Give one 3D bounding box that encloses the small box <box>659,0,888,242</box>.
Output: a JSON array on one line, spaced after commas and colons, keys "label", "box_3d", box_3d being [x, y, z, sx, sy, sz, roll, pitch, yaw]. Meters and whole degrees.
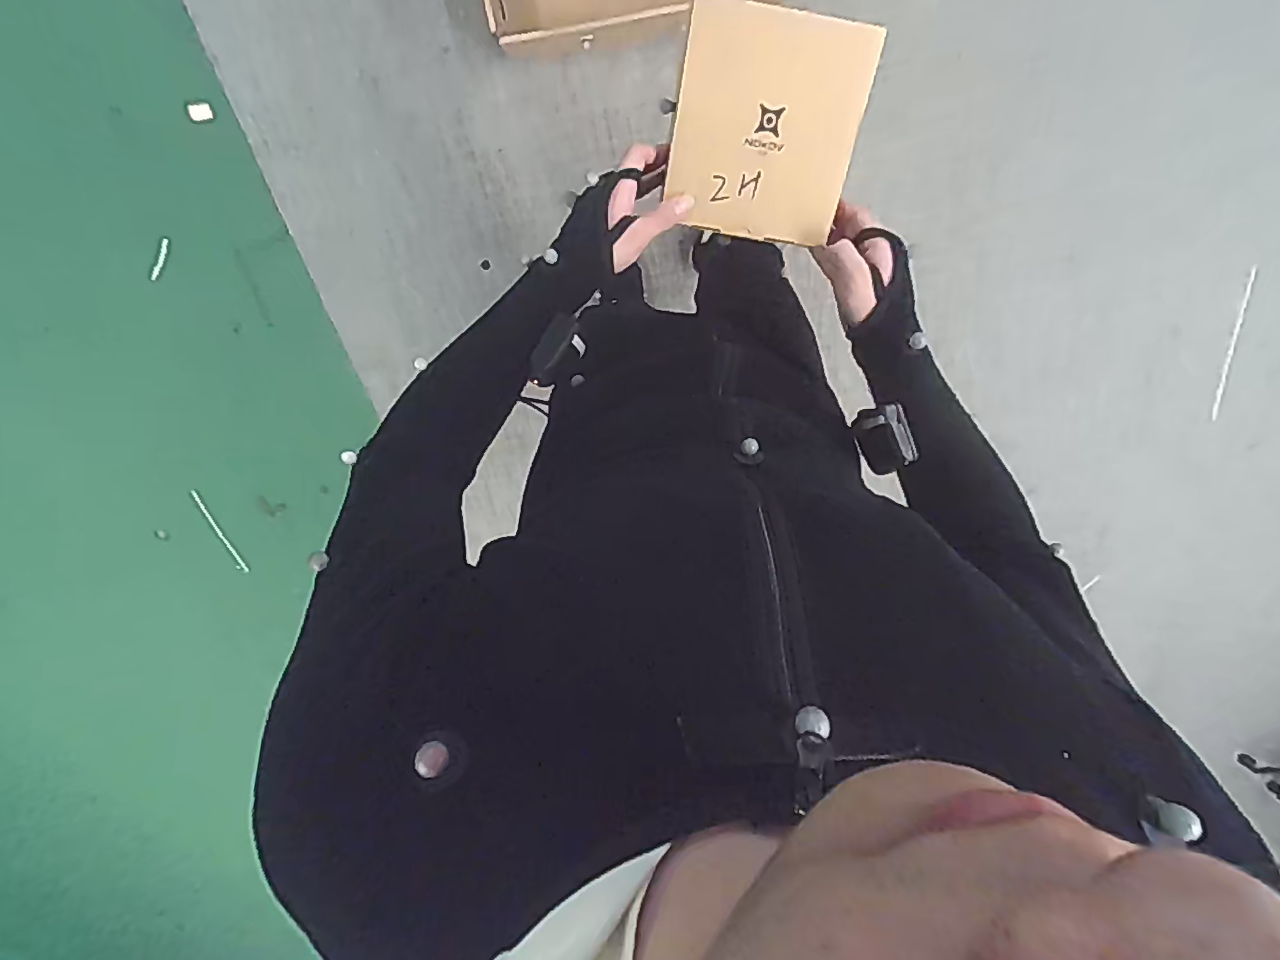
[{"label": "small box", "box_3d": [0.113, -0.353, 0.548, 0.168, 0.176, 0.179, 8, 117, -4]}]
